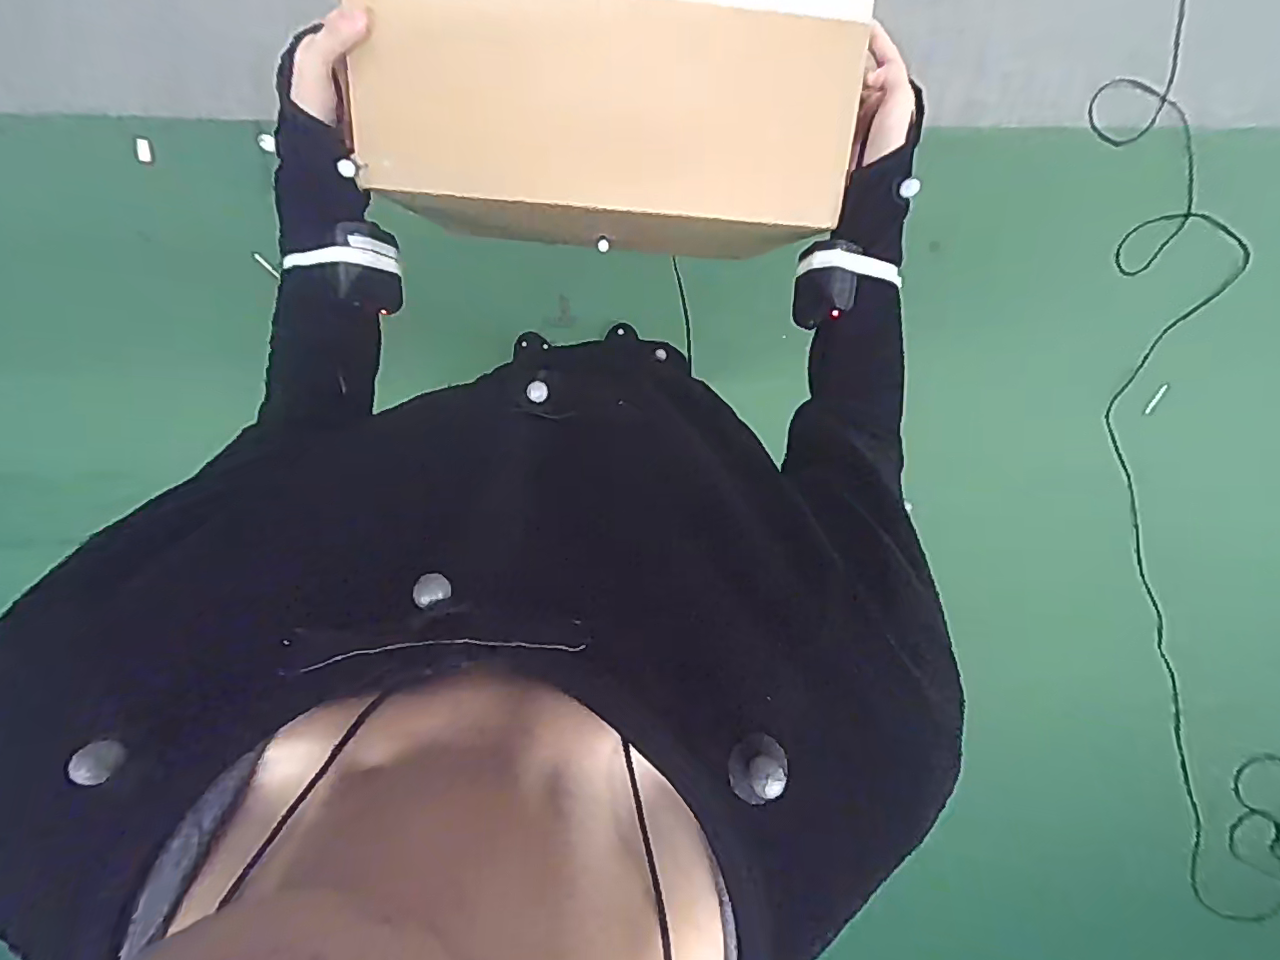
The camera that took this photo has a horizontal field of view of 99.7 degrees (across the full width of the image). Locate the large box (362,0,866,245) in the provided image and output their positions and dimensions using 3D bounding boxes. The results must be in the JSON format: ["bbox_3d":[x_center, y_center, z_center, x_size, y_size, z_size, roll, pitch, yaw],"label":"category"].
[{"bbox_3d":[-0.024,-0.431,0.563,0.408,0.320,0.320,2,107,-5],"label":"large box"}]
